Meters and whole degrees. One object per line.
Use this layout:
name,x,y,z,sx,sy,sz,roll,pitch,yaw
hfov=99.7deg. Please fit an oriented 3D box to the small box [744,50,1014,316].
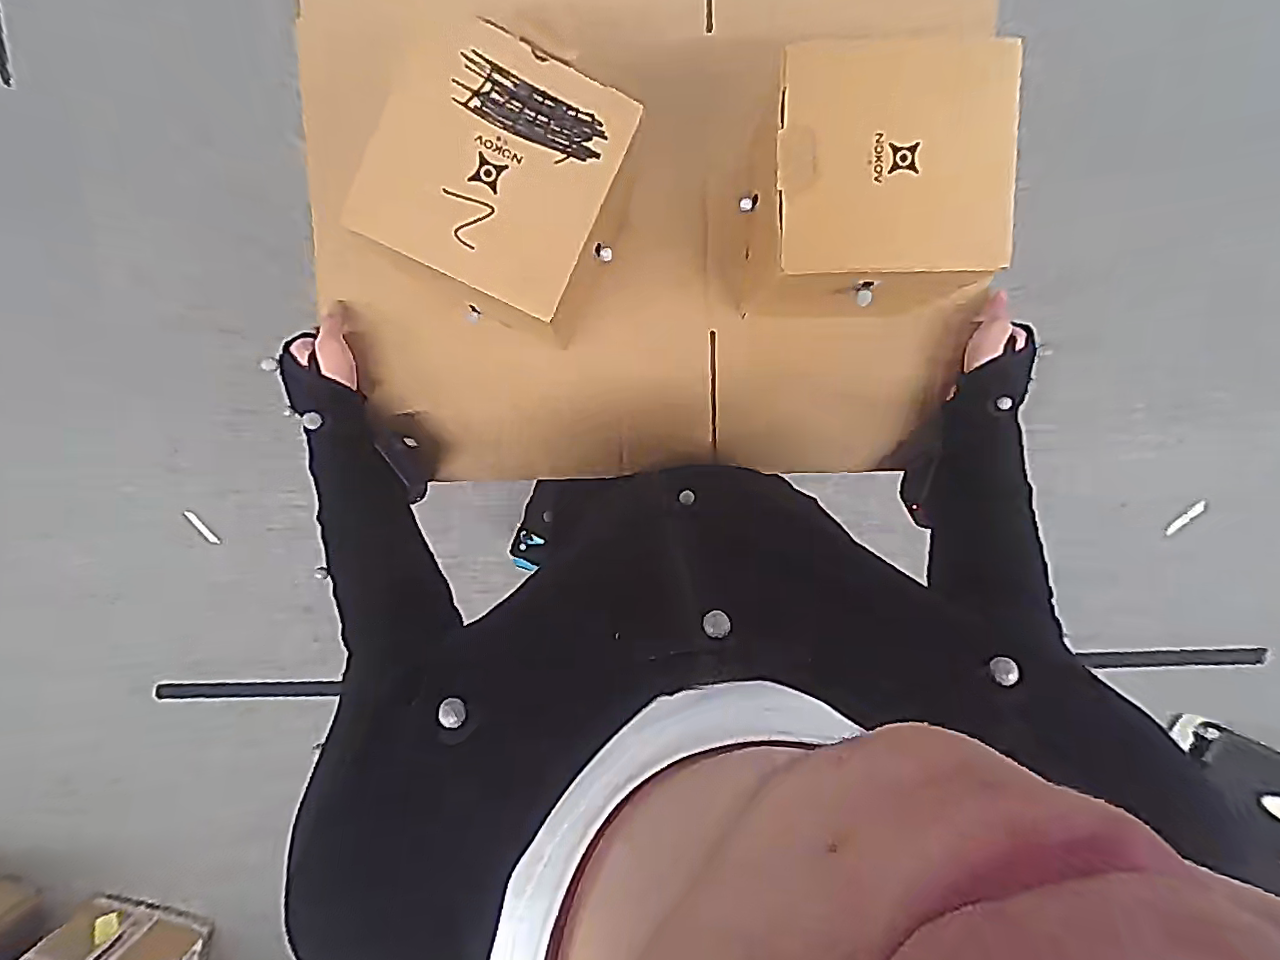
small box,0.199,-0.253,0.500,0.179,0.176,0.168,0,95,2
